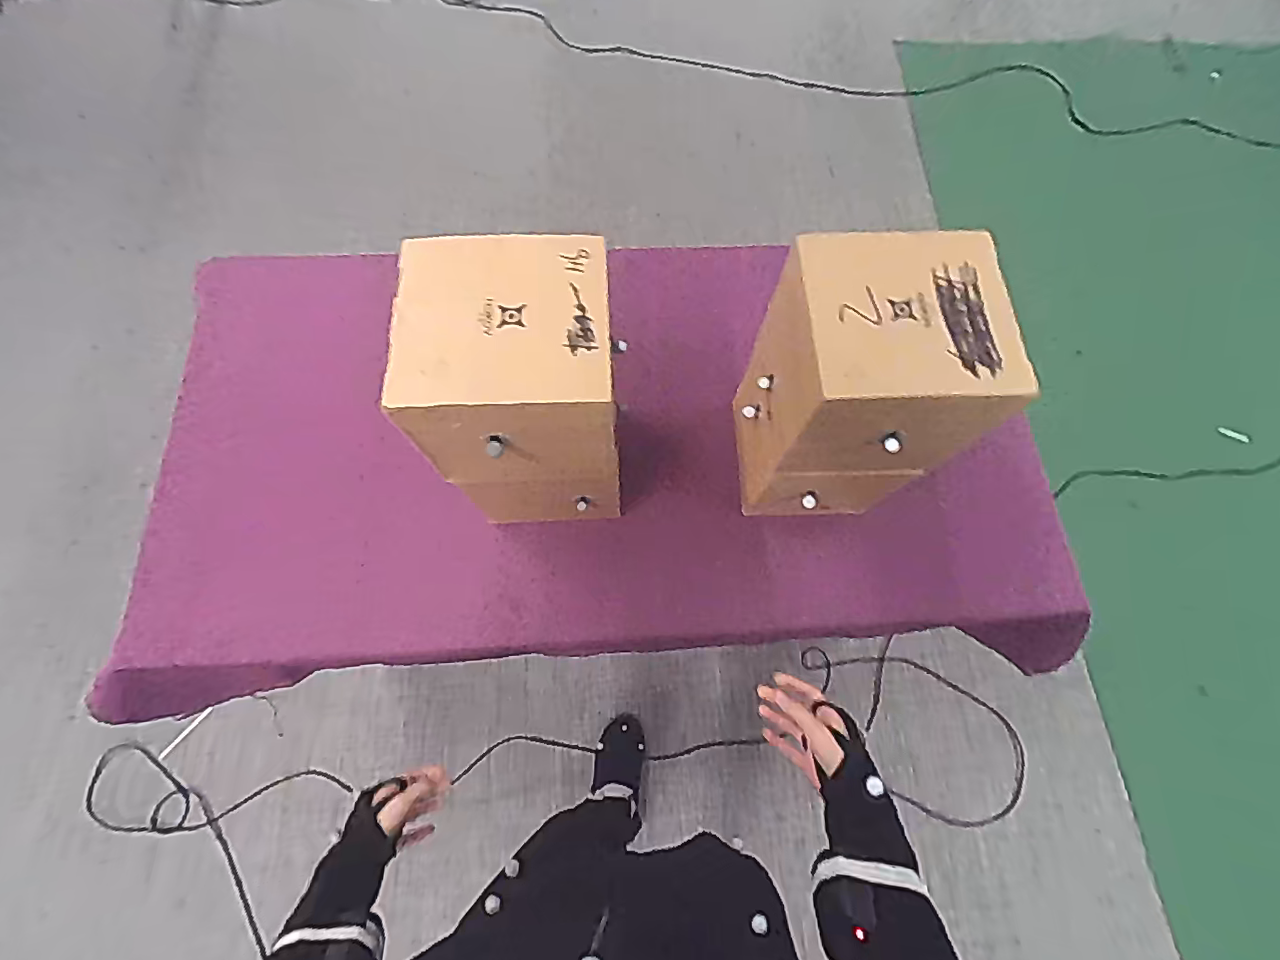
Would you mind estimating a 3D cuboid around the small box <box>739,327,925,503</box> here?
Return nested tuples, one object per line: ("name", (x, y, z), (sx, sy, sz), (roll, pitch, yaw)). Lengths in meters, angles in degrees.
("small box", (0.226, -0.072, 0.686), (0.168, 0.176, 0.179), (-1, 70, -2))

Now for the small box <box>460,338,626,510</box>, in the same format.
("small box", (-0.109, -0.064, 0.673), (0.179, 0.176, 0.168), (-2, 70, -2))

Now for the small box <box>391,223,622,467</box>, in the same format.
("small box", (-0.108, -0.117, 0.517), (0.179, 0.176, 0.168), (-2, 71, -2))
